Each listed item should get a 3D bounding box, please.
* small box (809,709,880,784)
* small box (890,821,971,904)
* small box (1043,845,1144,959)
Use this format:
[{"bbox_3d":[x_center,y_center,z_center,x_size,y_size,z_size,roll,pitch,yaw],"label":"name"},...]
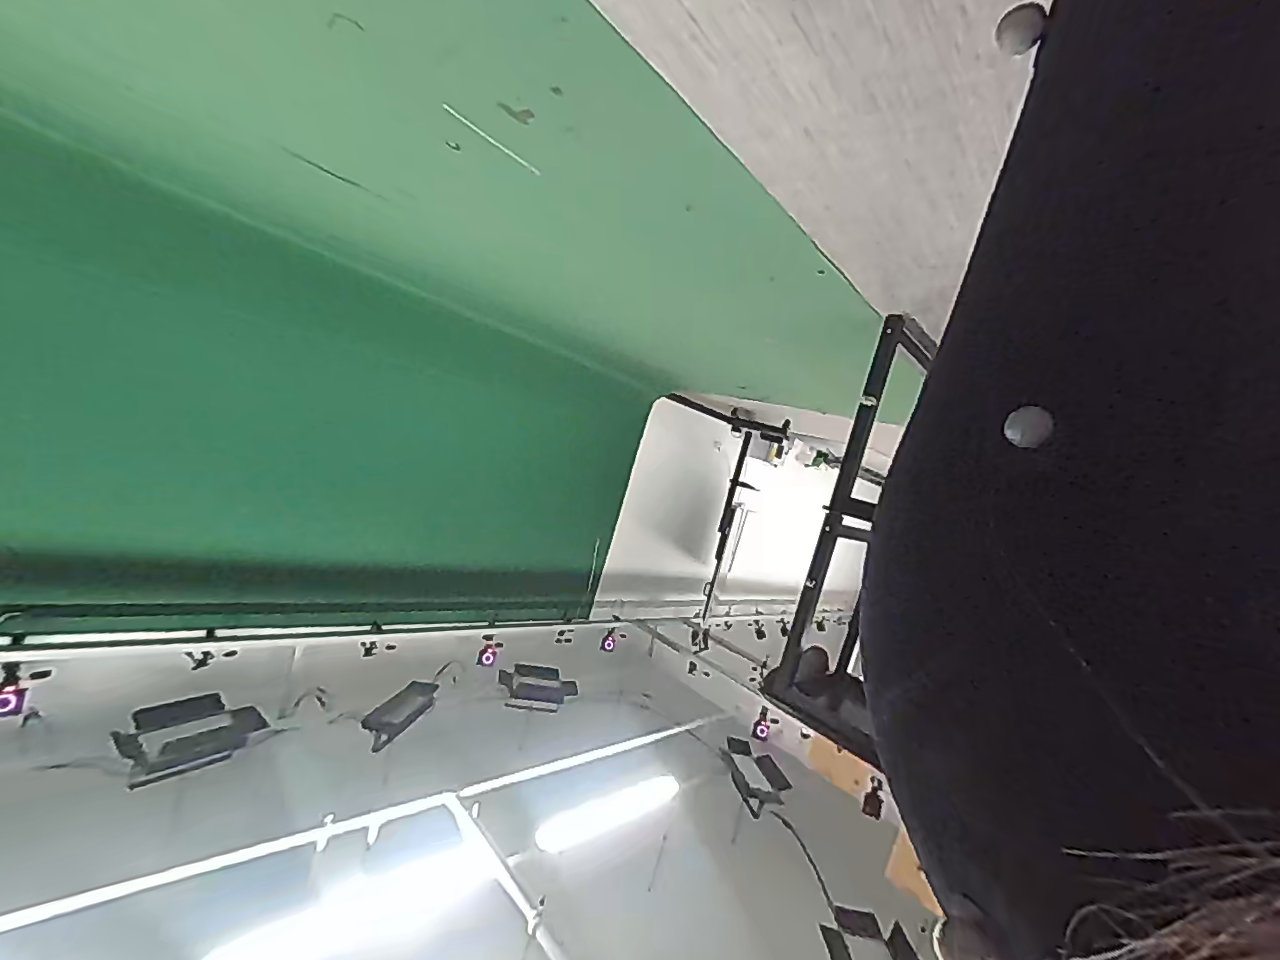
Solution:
[{"bbox_3d":[0.743,0.950,1.950,0.168,0.176,0.179,19,-177,42],"label":"small box"},{"bbox_3d":[0.930,1.189,1.729,0.168,0.176,0.179,19,-176,43],"label":"small box"},{"bbox_3d":[1.207,1.119,1.436,0.179,0.176,0.168,11,-174,-45],"label":"small box"}]
